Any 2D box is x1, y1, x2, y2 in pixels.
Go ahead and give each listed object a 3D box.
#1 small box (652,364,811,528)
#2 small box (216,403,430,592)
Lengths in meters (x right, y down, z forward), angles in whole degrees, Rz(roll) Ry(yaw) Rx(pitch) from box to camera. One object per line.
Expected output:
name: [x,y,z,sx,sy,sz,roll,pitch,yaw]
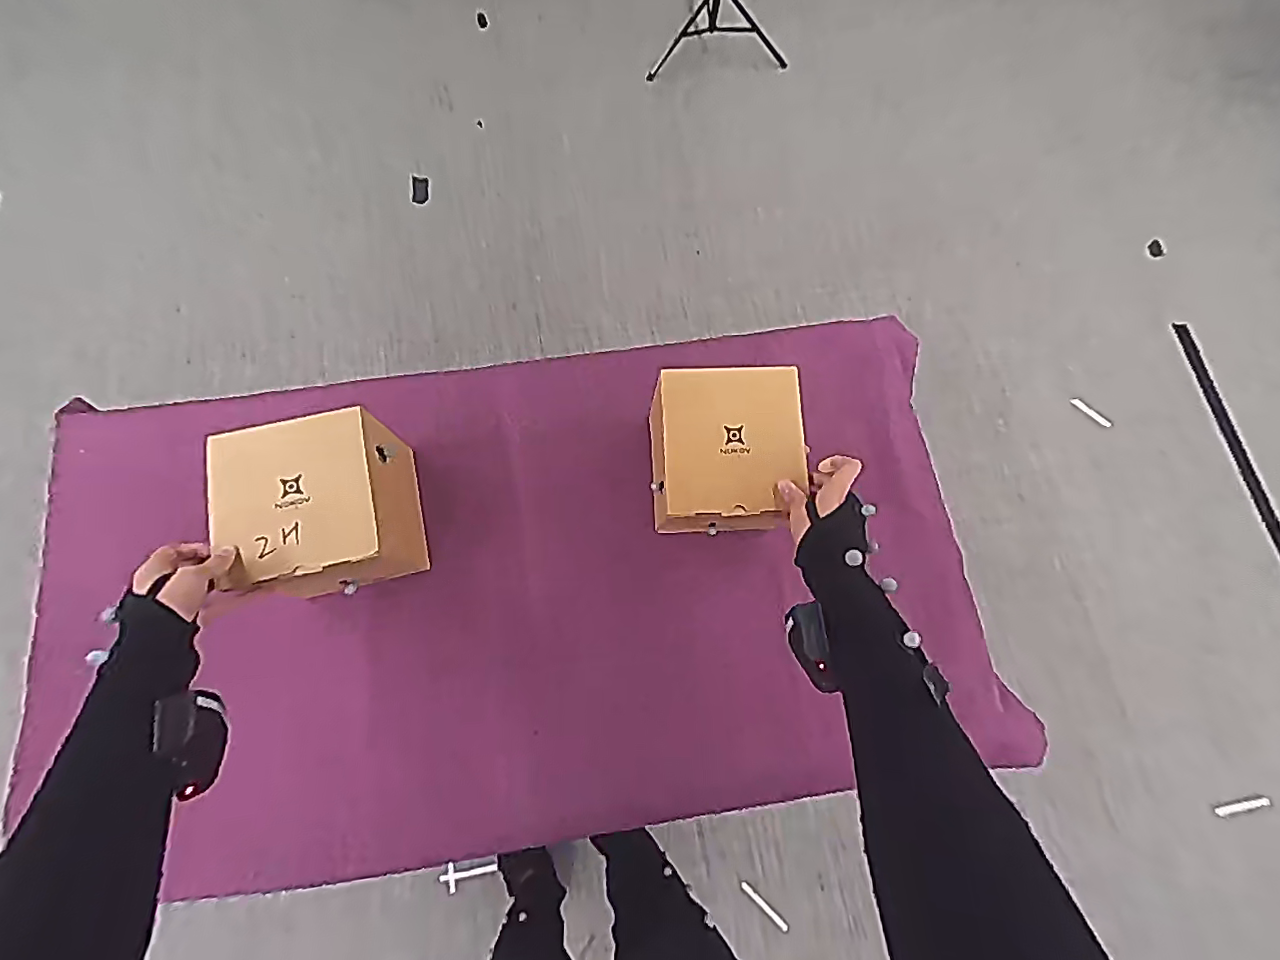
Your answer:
small box: [0.106,-0.036,0.701,0.168,0.176,0.179,-2,79,-3]
small box: [-0.374,0.030,0.662,0.168,0.176,0.179,-13,76,-6]
